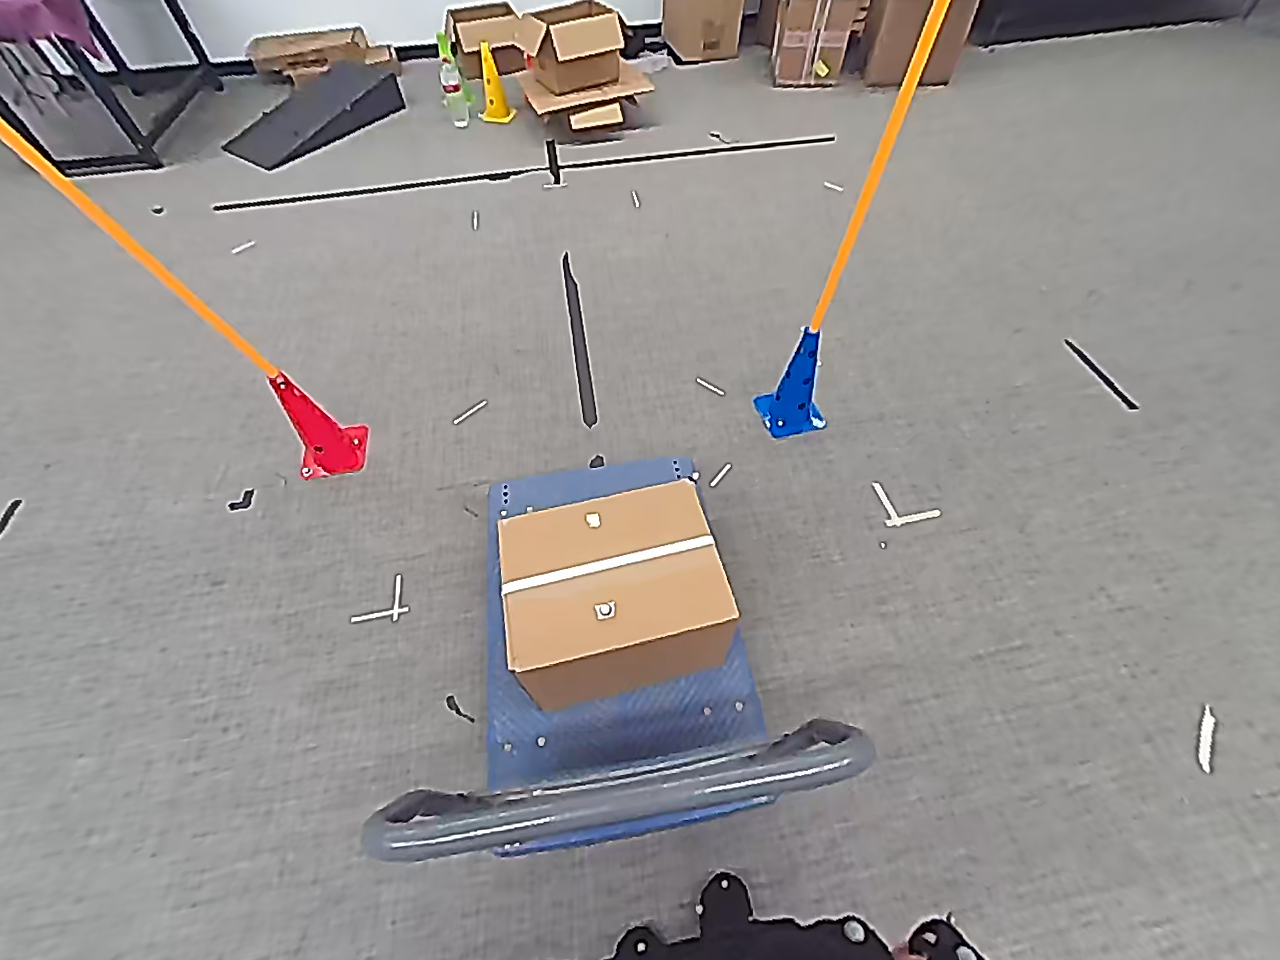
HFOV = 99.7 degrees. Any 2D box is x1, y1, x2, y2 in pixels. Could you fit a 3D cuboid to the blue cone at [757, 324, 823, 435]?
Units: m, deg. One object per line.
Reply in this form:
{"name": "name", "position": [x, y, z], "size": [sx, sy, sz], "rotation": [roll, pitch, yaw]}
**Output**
{"name": "blue cone", "position": [0.516, -0.331, 1.738], "size": [0.193, 0.380, 0.192], "rotation": [-12, 54, -7]}
